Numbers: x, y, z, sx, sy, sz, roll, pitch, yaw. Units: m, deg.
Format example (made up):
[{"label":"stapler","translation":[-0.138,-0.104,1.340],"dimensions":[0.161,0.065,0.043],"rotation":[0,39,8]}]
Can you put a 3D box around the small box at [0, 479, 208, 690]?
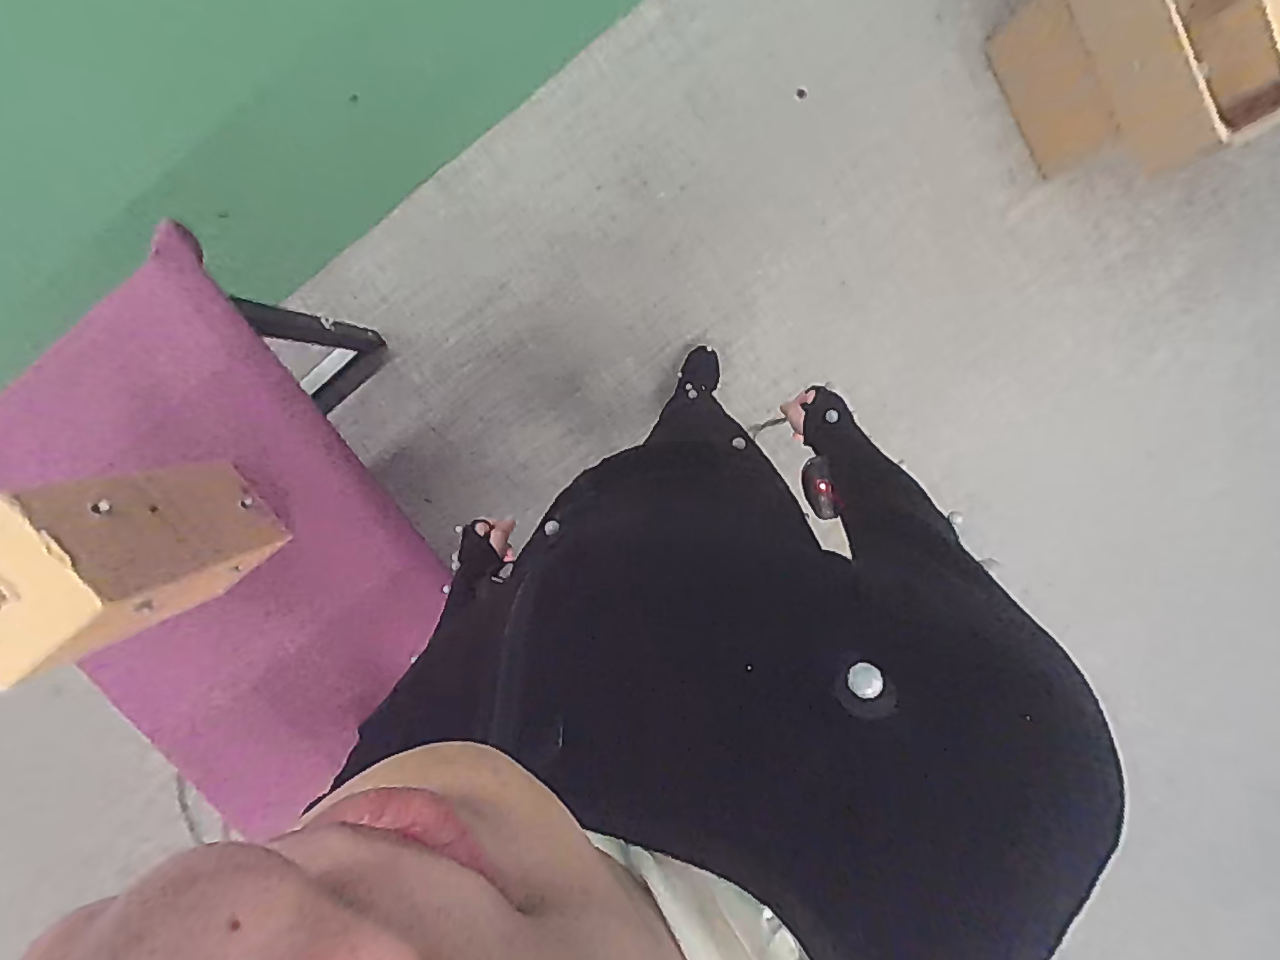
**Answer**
[{"label":"small box","translation":[-0.705,0.117,0.683],"dimensions":[0.179,0.176,0.168],"rotation":[-37,95,6]}]

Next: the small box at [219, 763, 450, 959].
[{"label":"small box","translation":[-0.395,0.537,0.735],"dimensions":[0.179,0.176,0.168],"rotation":[-39,95,6]}]

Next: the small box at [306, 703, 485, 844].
[{"label":"small box","translation":[-0.390,0.514,0.896],"dimensions":[0.179,0.176,0.168],"rotation":[-38,96,6]}]
